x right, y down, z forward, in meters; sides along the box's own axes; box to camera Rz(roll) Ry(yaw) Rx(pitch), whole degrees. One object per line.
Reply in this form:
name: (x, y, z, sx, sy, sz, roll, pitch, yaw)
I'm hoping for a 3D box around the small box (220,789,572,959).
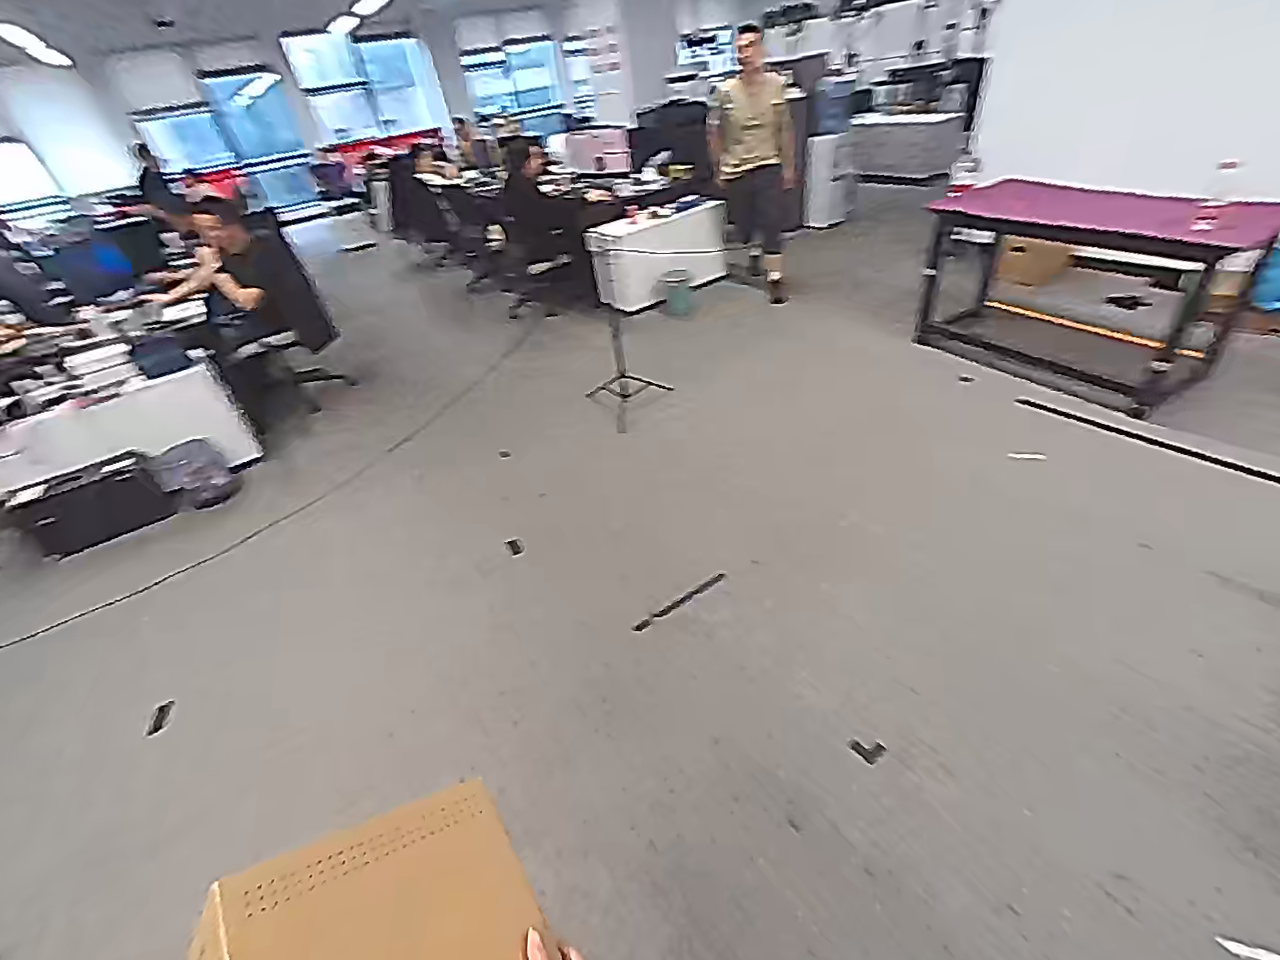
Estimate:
small box: (-0.169, 0.351, 0.360, 0.179, 0.168, 0.176, 5, 34, -46)
